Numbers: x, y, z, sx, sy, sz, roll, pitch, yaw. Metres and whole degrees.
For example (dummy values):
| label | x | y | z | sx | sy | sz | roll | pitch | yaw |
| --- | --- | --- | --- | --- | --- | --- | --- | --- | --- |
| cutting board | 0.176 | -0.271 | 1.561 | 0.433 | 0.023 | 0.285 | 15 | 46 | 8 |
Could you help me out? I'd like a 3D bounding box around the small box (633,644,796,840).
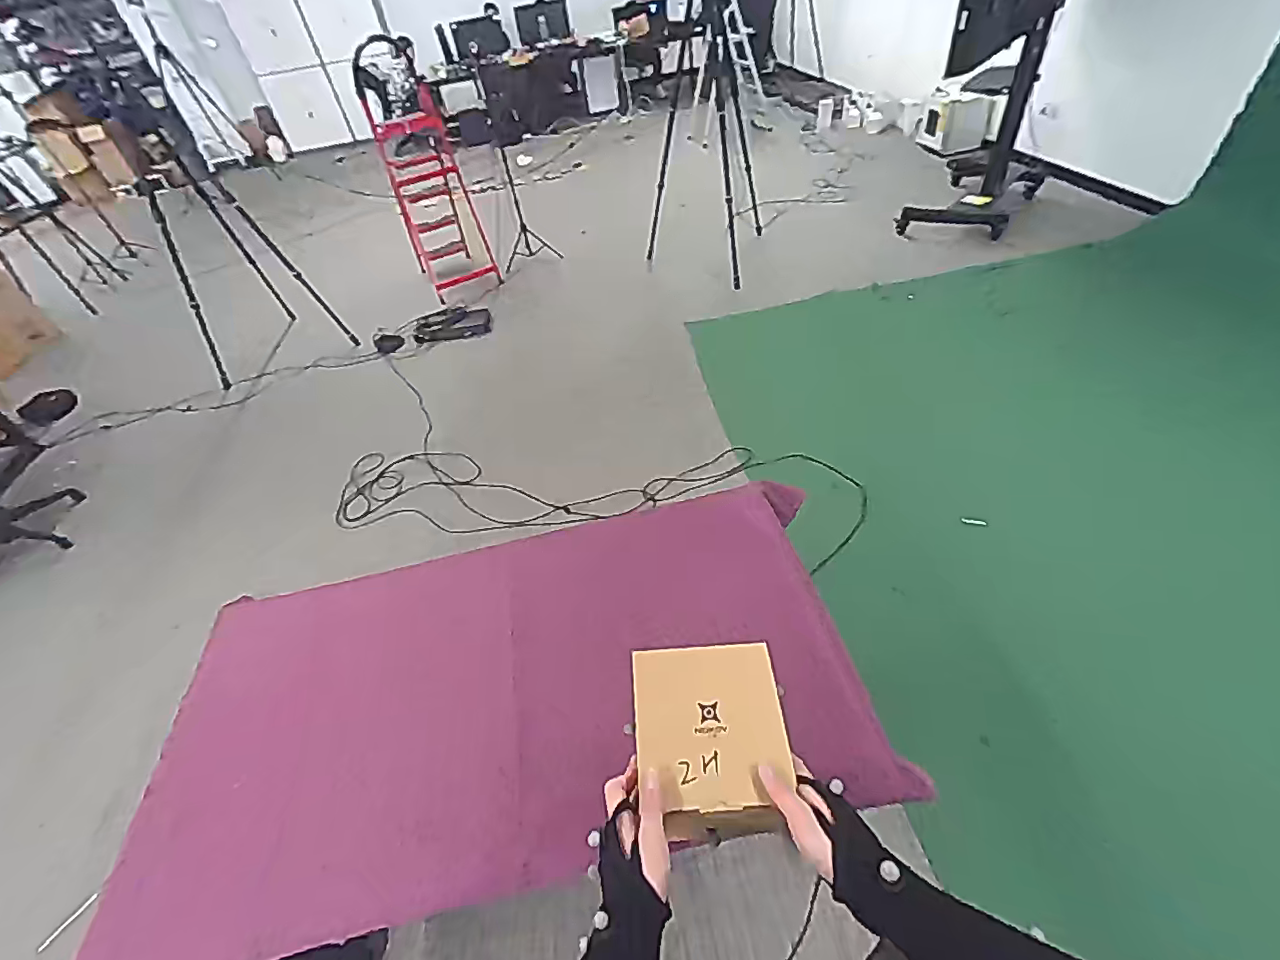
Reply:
| label | x | y | z | sx | sy | sz | roll | pitch | yaw |
| --- | --- | --- | --- | --- | --- | --- | --- | --- | --- |
| small box | 0.075 | 0.319 | 0.658 | 0.168 | 0.176 | 0.179 | -3 | 49 | 0 |
